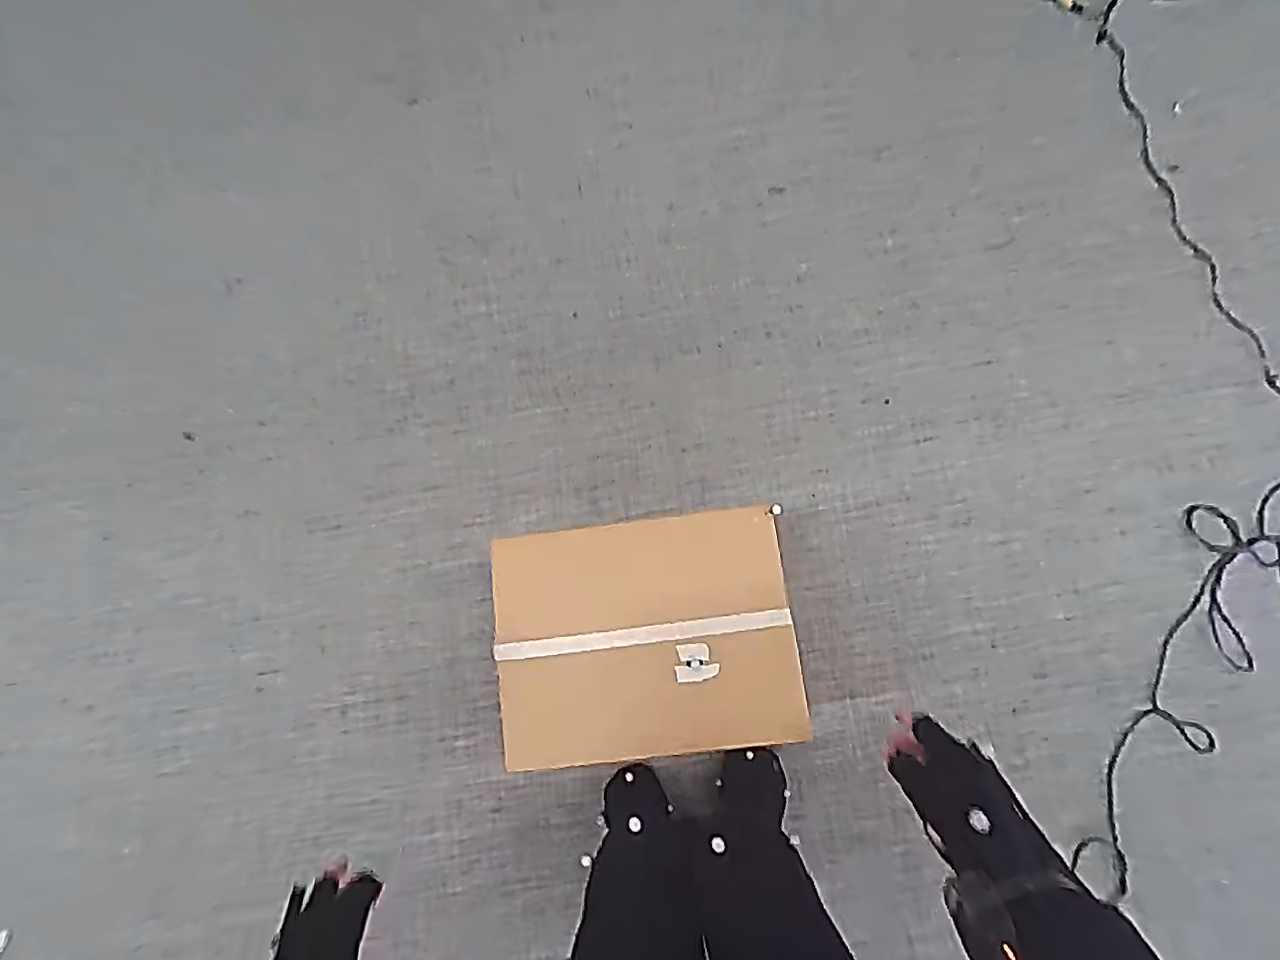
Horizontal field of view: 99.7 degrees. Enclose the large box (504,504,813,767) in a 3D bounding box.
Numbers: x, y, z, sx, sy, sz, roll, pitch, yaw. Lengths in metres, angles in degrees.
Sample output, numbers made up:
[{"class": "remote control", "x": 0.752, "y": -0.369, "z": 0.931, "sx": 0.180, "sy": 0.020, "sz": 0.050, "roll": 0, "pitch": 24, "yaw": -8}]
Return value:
[{"class": "large box", "x": 0.023, "y": 0.244, "z": 0.897, "sx": 0.408, "sy": 0.320, "sz": 0.320, "roll": -8, "pitch": 78, "yaw": 2}]
